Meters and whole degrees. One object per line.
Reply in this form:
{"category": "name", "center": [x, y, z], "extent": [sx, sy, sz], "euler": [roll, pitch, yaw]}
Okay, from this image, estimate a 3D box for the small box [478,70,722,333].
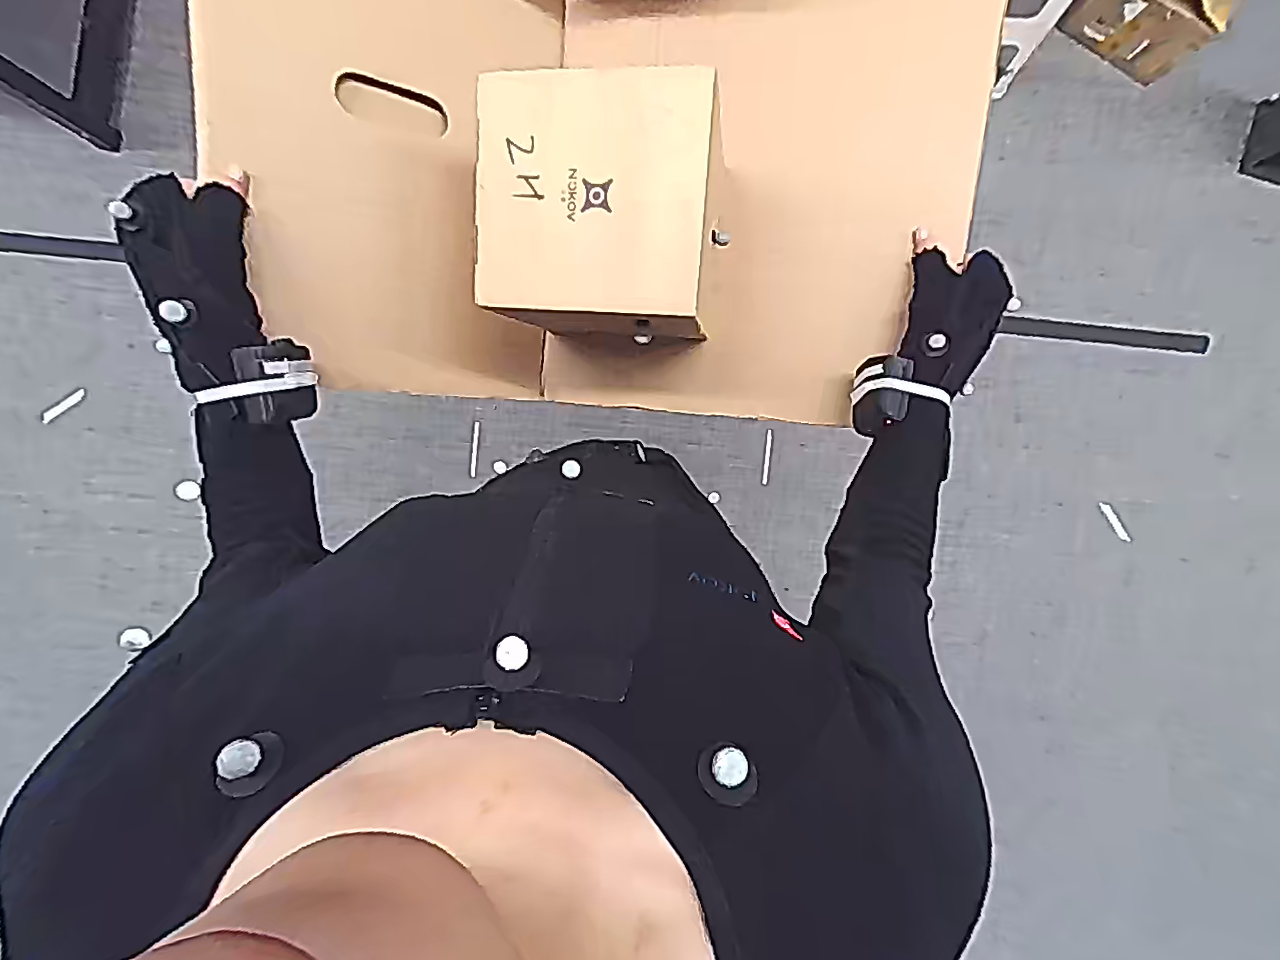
{"category": "small box", "center": [-0.023, -0.226, 0.480], "extent": [0.179, 0.176, 0.168], "euler": [6, 100, 10]}
